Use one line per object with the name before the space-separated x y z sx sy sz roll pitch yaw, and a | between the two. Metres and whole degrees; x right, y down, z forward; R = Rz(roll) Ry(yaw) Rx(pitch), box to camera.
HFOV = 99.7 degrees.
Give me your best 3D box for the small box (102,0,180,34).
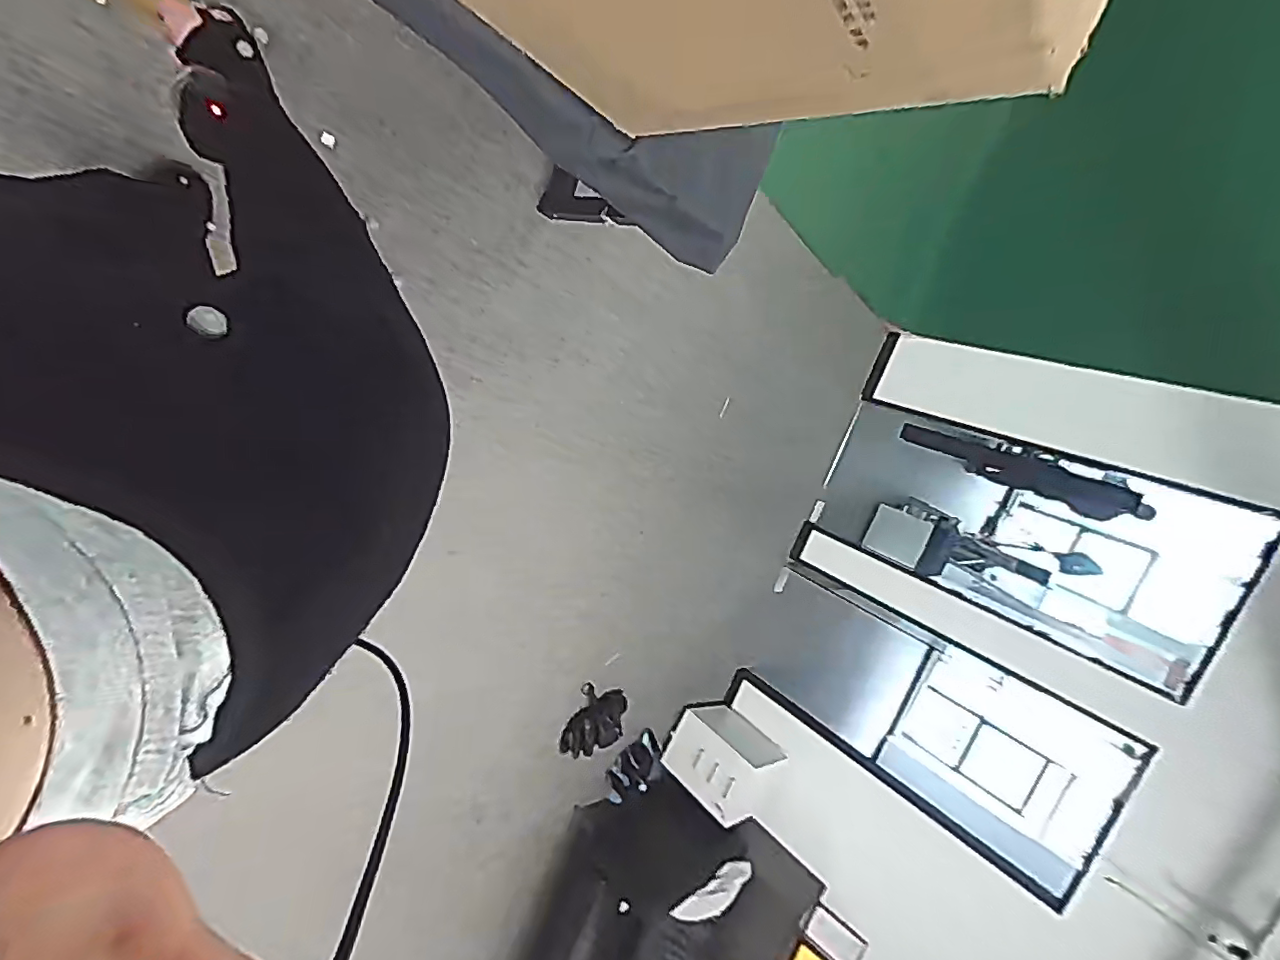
small box | -0.863 -0.899 0.900 0.168 0.176 0.179 18 99 -49
